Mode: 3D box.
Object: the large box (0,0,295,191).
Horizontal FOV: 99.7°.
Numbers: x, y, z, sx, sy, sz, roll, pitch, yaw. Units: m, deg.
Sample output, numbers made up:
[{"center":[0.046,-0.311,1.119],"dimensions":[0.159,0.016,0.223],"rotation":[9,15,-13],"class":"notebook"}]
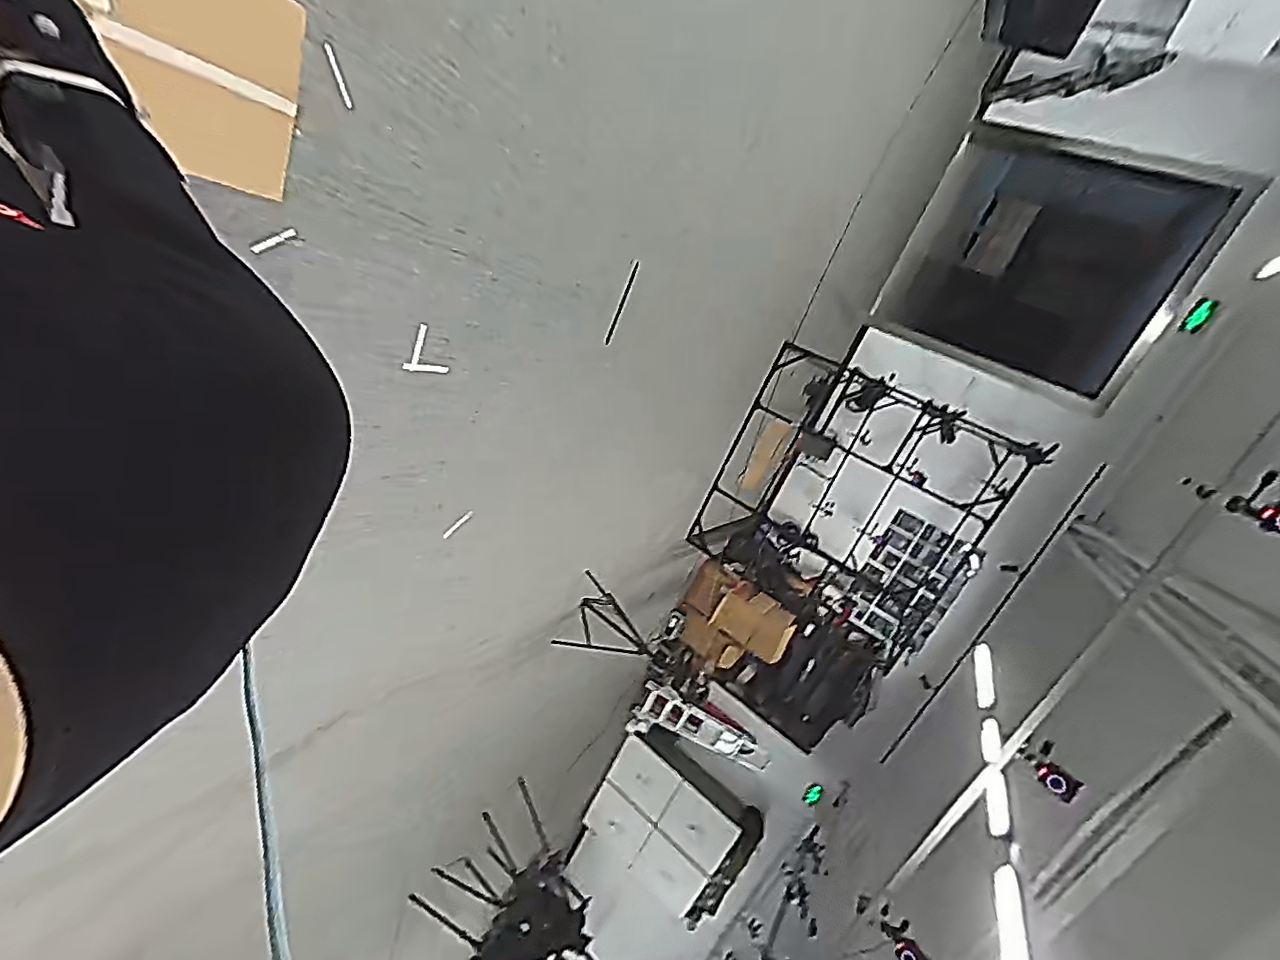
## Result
[{"center":[-0.841,-0.711,0.843],"dimensions":[0.408,0.320,0.320],"rotation":[-13,130,-58],"class":"large box"}]
